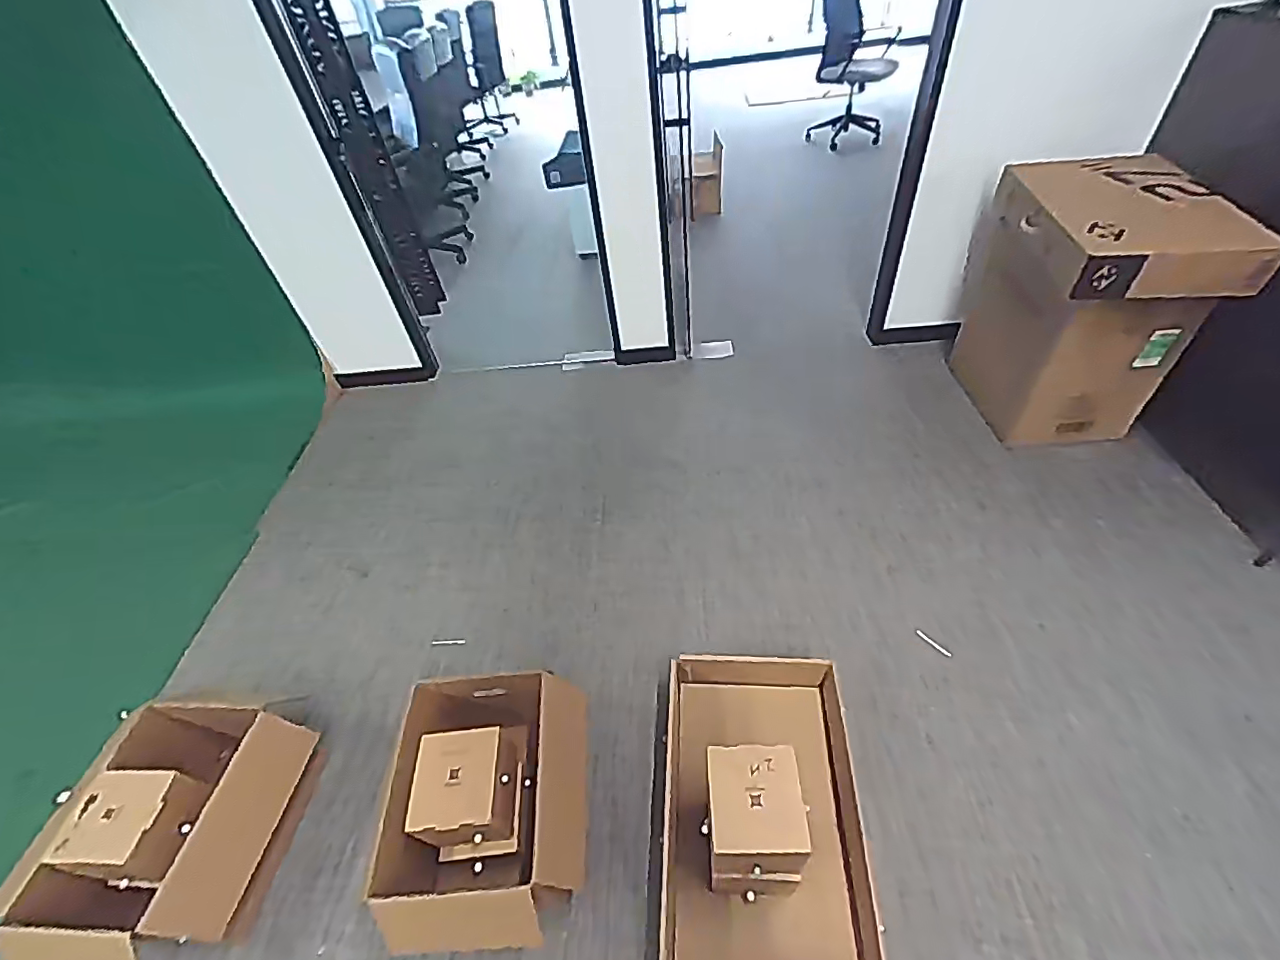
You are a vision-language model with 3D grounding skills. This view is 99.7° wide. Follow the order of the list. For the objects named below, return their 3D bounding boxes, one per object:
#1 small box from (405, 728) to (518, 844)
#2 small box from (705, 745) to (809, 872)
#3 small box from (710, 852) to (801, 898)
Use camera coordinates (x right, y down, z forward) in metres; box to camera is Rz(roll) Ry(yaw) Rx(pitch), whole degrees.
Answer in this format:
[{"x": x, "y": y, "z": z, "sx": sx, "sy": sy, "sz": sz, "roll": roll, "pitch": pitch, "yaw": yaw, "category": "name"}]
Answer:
[{"x": -0.357, "y": 0.639, "z": 1.122, "sx": 0.168, "sy": 0.176, "sz": 0.179, "roll": -7, "pitch": 47, "yaw": 1, "category": "small box"}, {"x": 0.212, "y": 0.621, "z": 1.019, "sx": 0.168, "sy": 0.176, "sz": 0.179, "roll": -3, "pitch": 44, "yaw": 3, "category": "small box"}, {"x": 0.230, "y": 0.743, "z": 1.127, "sx": 0.168, "sy": 0.176, "sz": 0.179, "roll": -1, "pitch": 45, "yaw": 6, "category": "small box"}]
